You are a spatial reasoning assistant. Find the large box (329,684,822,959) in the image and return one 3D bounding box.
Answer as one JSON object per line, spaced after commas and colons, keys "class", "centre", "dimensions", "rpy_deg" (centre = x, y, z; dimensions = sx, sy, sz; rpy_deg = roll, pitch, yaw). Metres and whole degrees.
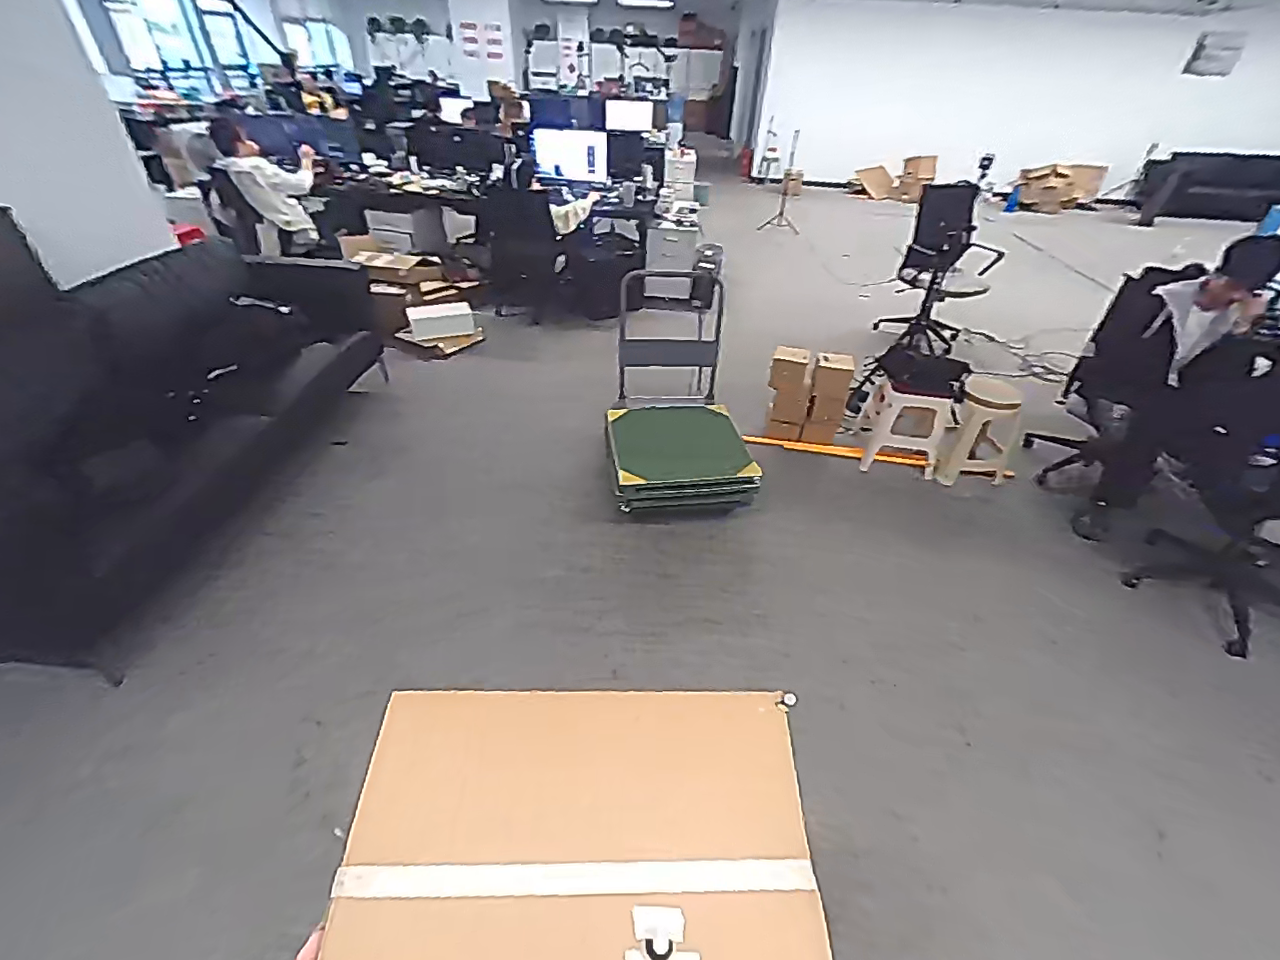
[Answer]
{"class": "large box", "centre": [-0.059, 0.433, 0.588], "dimensions": [0.408, 0.320, 0.320], "rpy_deg": [1, 51, -3]}
